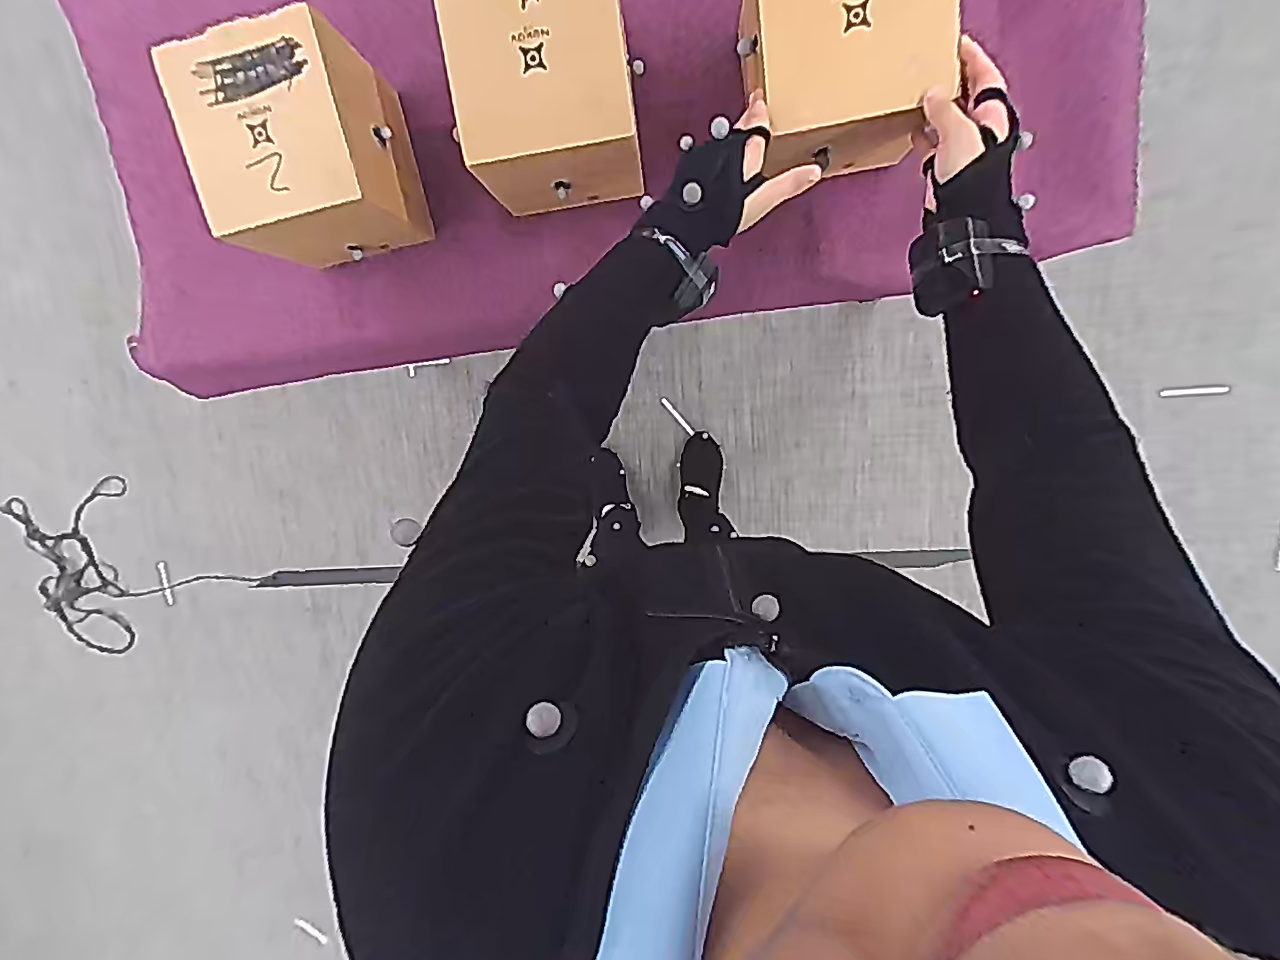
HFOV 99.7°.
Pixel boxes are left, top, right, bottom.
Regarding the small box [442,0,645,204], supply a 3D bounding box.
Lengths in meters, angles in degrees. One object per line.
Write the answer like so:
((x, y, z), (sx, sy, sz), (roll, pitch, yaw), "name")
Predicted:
((-0.087, -0.409, 0.569), (0.168, 0.176, 0.179), (-7, 100, 4), "small box")

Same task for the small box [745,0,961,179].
((0.200, -0.427, 0.545), (0.168, 0.176, 0.179), (-6, 101, 8), "small box")
